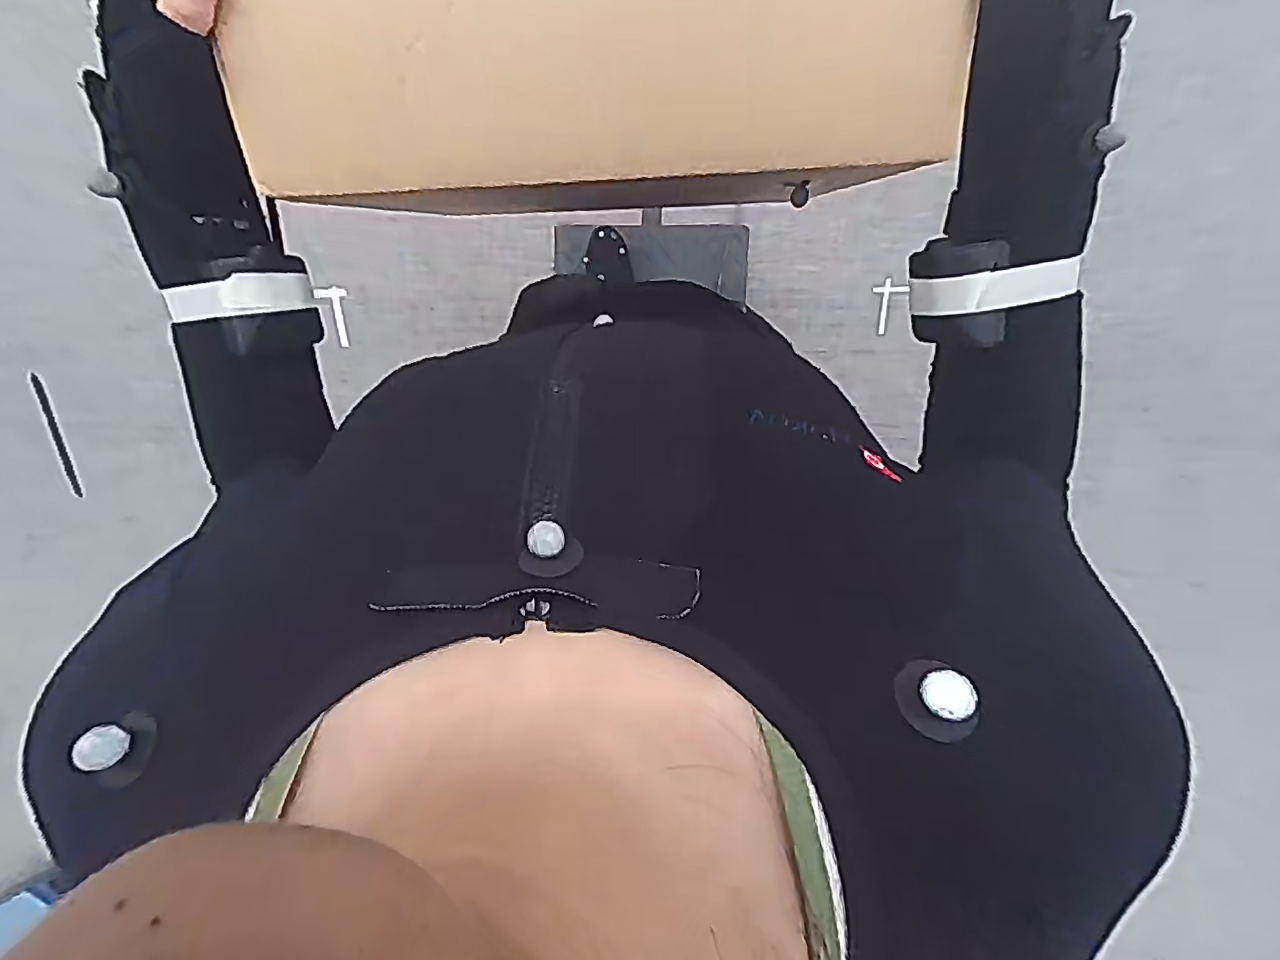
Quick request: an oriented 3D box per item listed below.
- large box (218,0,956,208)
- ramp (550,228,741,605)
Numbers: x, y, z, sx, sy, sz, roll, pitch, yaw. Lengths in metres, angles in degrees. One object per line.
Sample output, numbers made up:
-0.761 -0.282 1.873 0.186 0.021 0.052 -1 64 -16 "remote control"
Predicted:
-0.029 -0.385 0.397 0.408 0.320 0.320 -2 114 2 "large box"
0.002 -0.148 1.449 0.509 0.206 0.991 0 109 4 "ramp"
